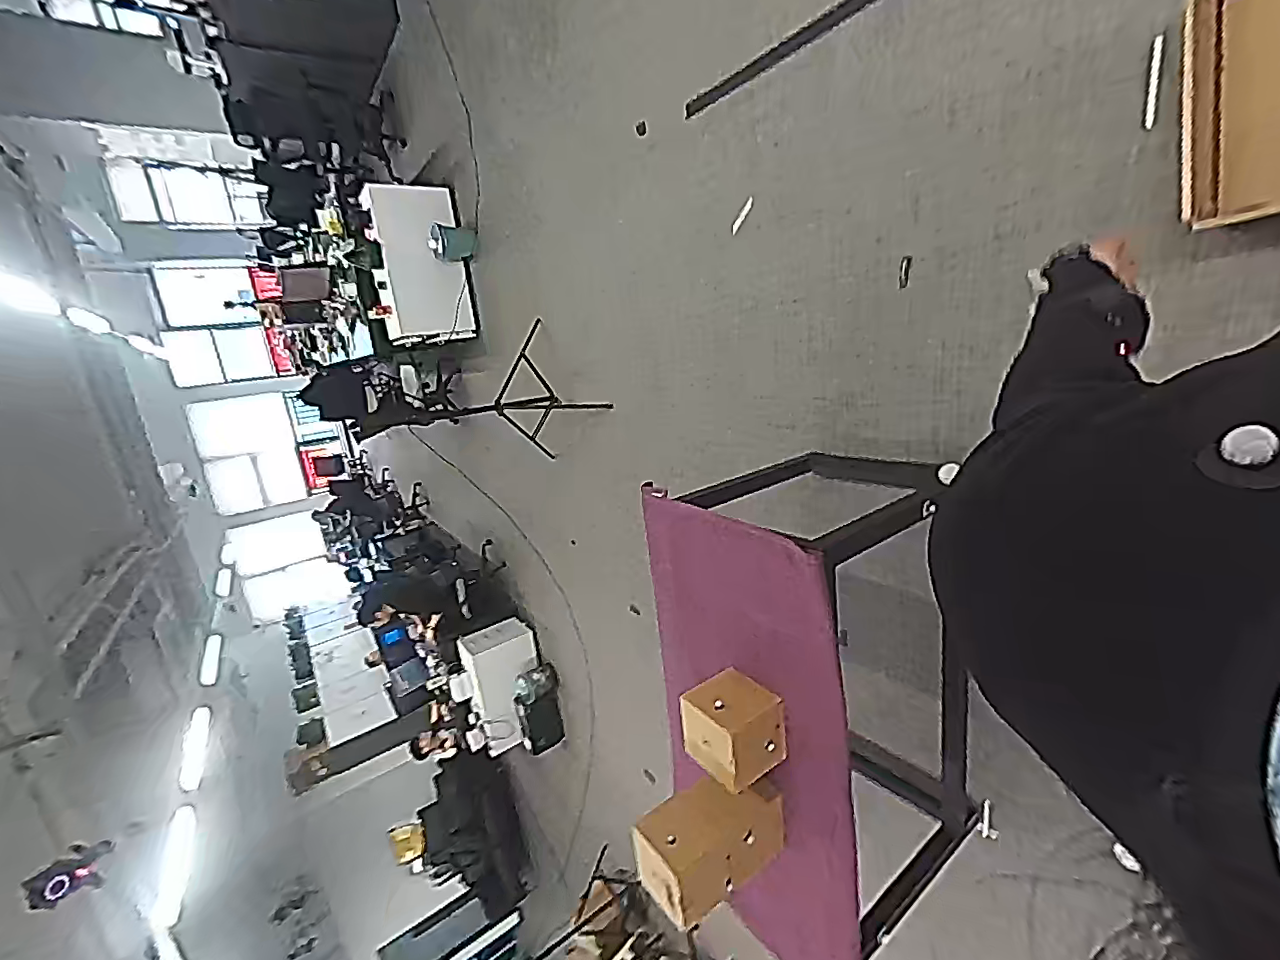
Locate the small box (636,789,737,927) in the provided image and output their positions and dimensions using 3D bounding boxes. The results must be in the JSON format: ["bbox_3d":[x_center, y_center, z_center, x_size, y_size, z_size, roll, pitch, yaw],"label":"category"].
[{"bbox_3d":[0.116,0.883,1.287,0.179,0.176,0.168,13,114,55],"label":"small box"}]

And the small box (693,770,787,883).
[{"bbox_3d":[0.255,0.845,1.367,0.168,0.176,0.179,15,117,54],"label":"small box"}]

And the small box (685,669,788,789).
[{"bbox_3d":[0.229,0.576,1.284,0.179,0.176,0.168,15,117,54],"label":"small box"}]
